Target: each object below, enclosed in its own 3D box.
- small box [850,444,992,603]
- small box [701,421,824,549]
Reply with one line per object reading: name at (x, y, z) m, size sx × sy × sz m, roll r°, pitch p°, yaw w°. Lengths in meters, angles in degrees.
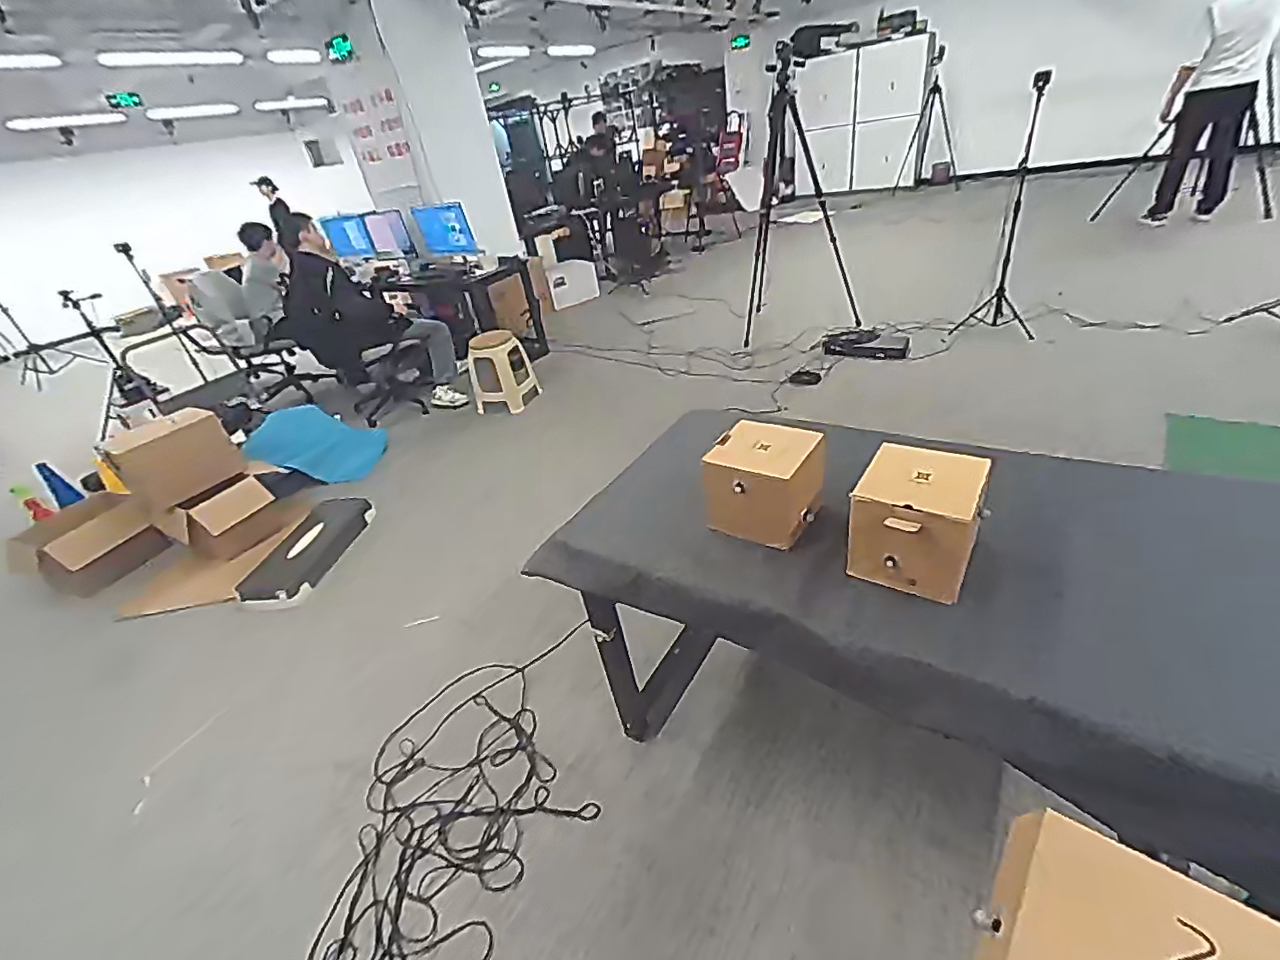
small box at (0.453, 0.066, 0.887) m, size 0.168 × 0.176 × 0.179 m, roll 15°, pitch 41°, yaw 34°
small box at (0.238, 0.008, 1.040) m, size 0.179 × 0.176 × 0.168 m, roll 16°, pitch 42°, yaw 34°
